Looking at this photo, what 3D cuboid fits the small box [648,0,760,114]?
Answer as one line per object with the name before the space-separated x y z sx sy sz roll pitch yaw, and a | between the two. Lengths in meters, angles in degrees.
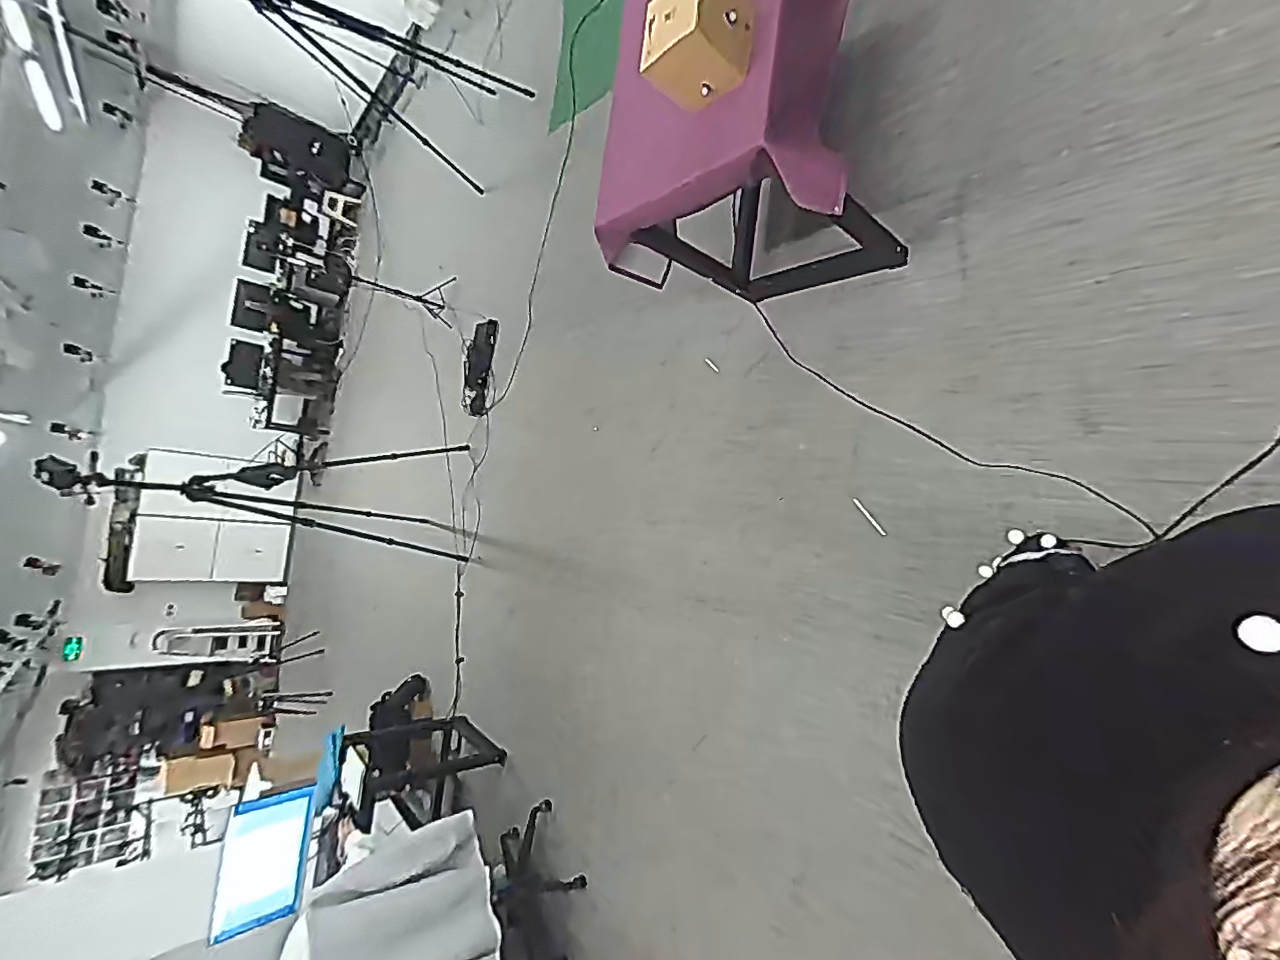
small box | 0.146 -0.972 1.206 0.179 0.176 0.168 5 86 49
